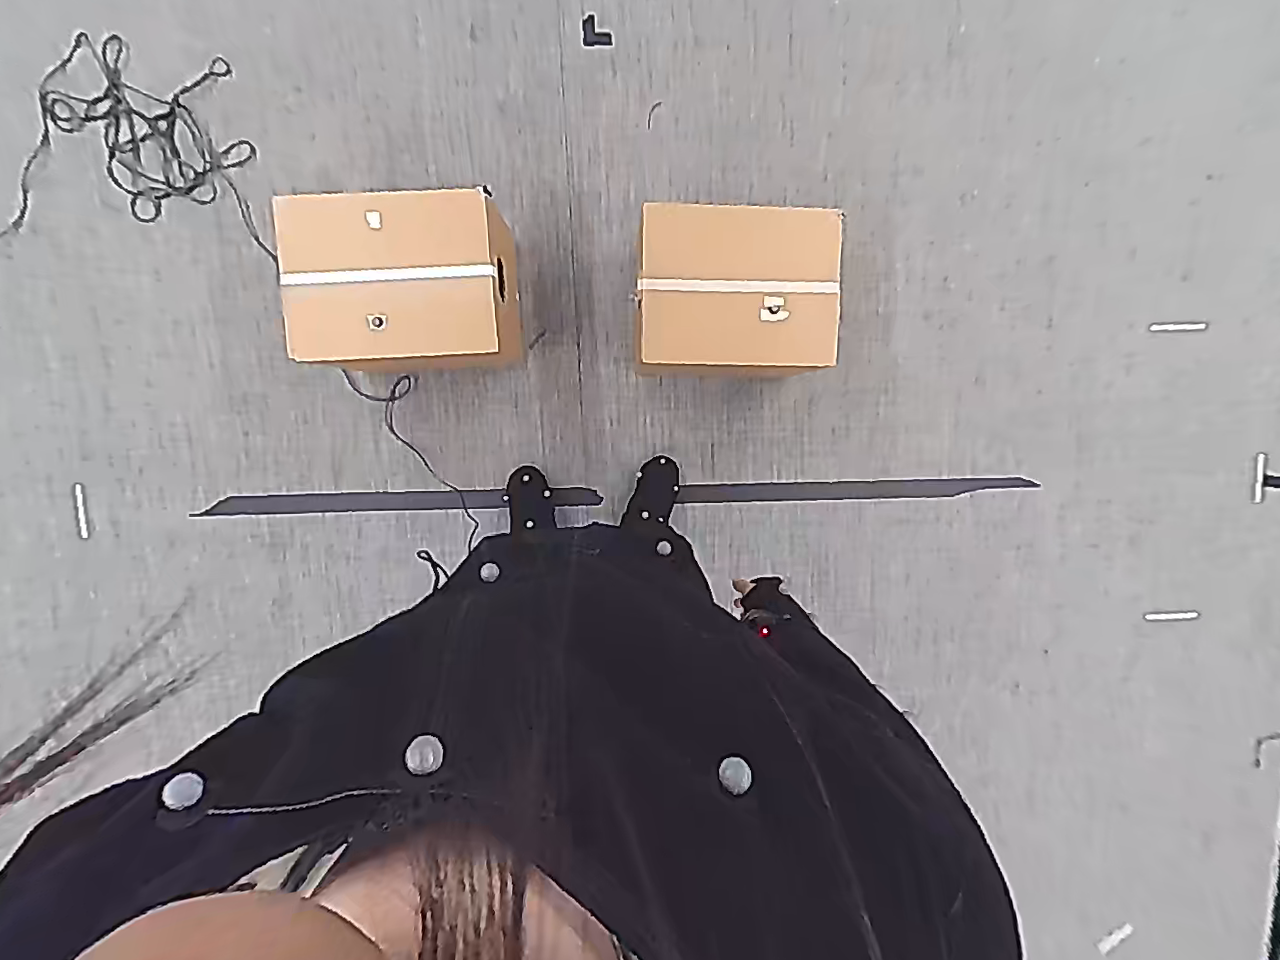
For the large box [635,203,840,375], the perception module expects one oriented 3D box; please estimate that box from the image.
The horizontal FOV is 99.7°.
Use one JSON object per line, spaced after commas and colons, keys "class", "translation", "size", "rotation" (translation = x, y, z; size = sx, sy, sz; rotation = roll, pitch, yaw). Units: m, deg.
{"class": "large box", "translation": [0.197, -0.412, 1.245], "size": [0.408, 0.320, 0.320], "rotation": [1, 97, -4]}
